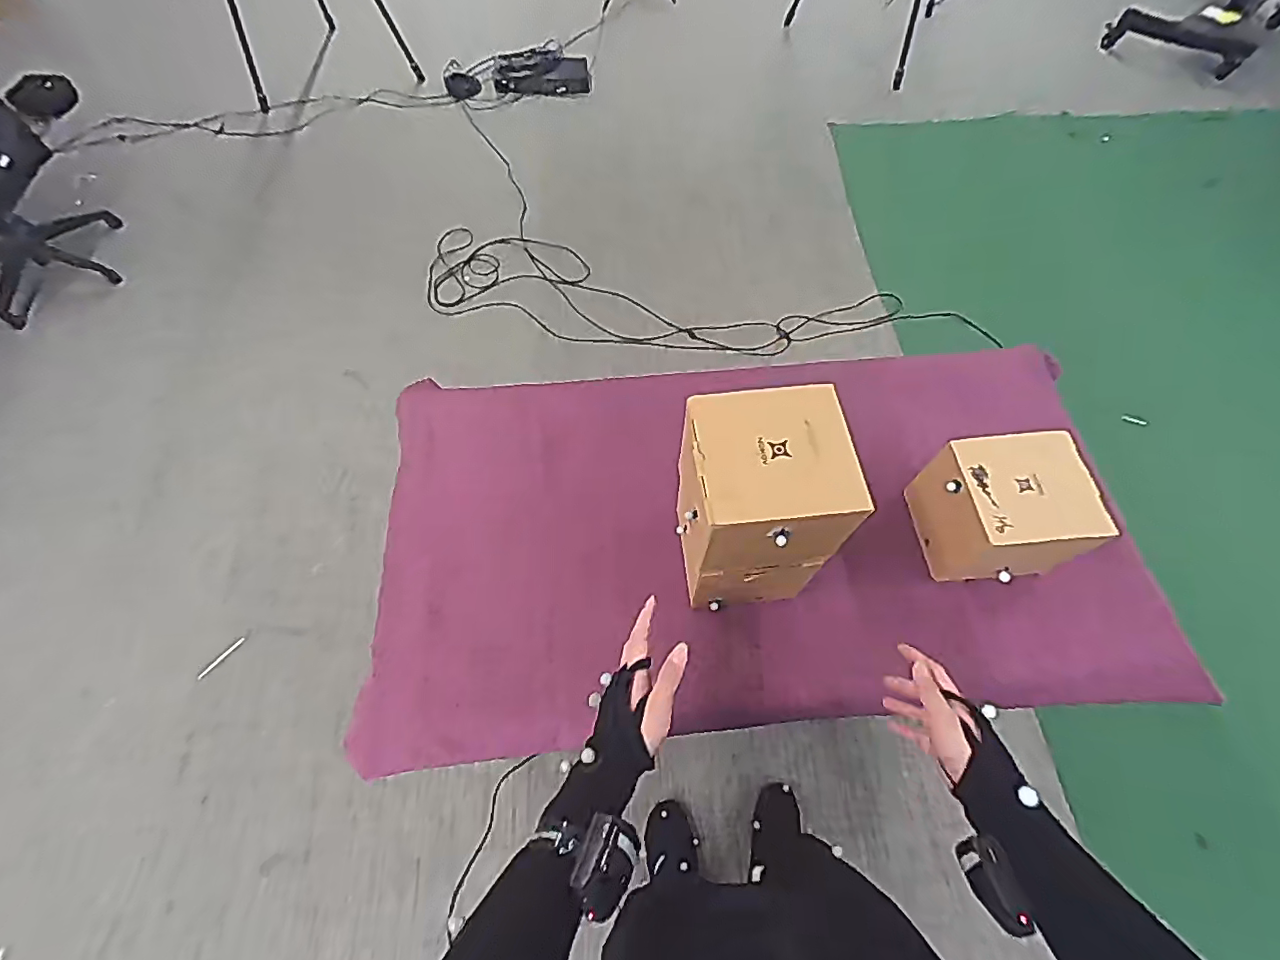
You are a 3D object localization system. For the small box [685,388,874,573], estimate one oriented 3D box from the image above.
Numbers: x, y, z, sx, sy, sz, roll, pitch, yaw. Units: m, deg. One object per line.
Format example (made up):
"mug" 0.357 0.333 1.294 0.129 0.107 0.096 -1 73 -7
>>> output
"small box" 0.150 0.008 0.660 0.179 0.176 0.168 -5 63 -2

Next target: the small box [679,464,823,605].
"small box" 0.152 0.081 0.805 0.168 0.176 0.179 -5 61 -2

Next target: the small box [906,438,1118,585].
"small box" 0.541 0.053 0.816 0.179 0.176 0.168 -4 62 -2
